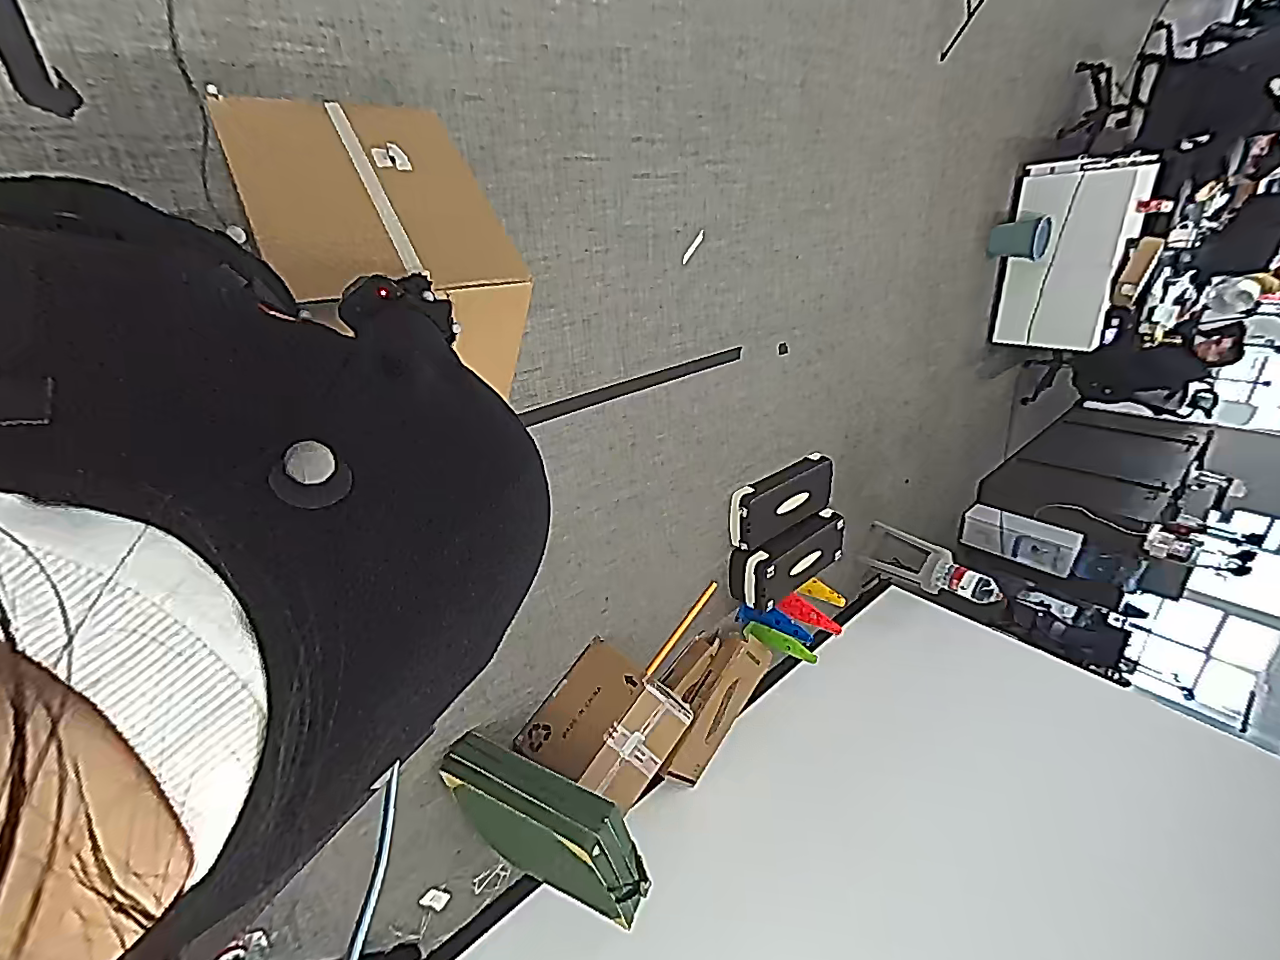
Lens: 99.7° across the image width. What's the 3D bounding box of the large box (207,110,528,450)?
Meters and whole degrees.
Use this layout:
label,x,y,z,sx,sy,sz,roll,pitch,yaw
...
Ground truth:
label,x,y,z,sx,sy,sz,roll,pitch,yaw
large box,-0.428,-0.320,0.883,0.320,0.408,0.320,-19,157,-32
